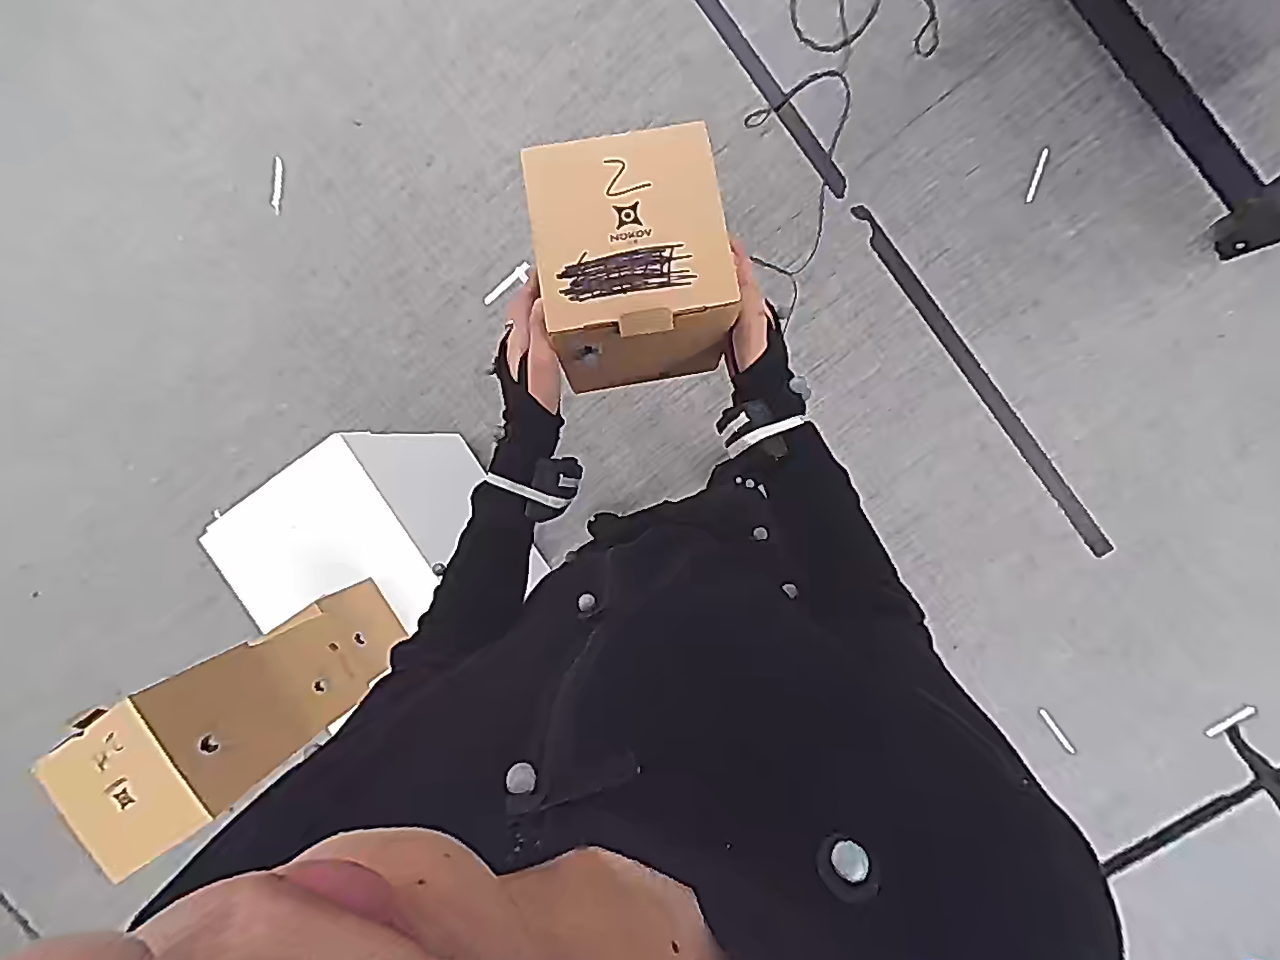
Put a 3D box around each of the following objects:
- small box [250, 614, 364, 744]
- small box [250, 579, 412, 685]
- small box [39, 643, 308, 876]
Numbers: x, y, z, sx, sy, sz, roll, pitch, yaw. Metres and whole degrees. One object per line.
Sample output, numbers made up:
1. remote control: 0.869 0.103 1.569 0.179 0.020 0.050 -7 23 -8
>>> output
1. small box: -0.584 0.343 0.874 0.179 0.176 0.168 -31 91 8
2. small box: -0.577 0.315 1.034 0.168 0.176 0.179 -32 90 7
3. small box: -0.589 0.349 0.708 0.168 0.176 0.179 -34 90 7
